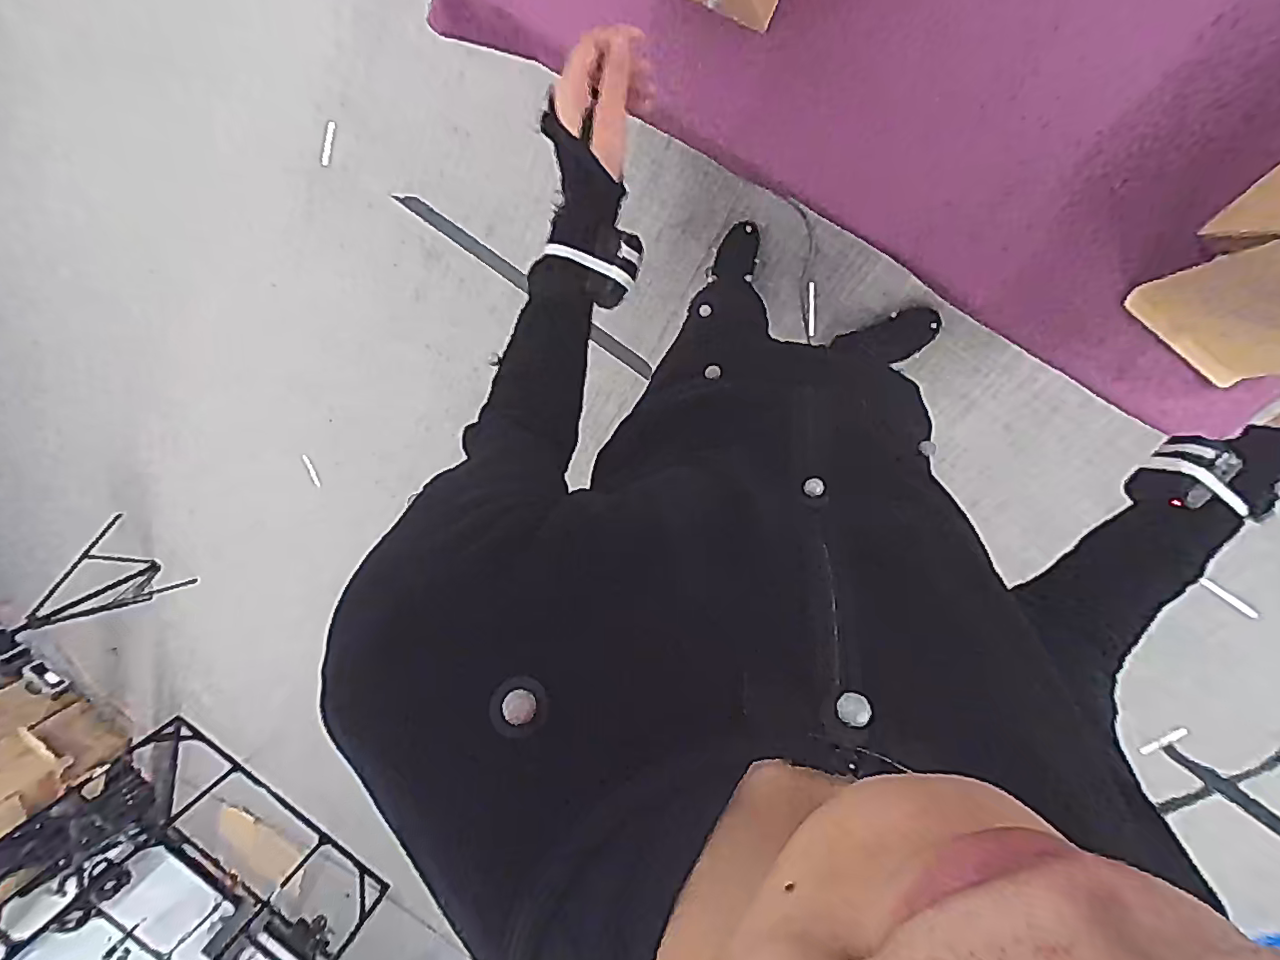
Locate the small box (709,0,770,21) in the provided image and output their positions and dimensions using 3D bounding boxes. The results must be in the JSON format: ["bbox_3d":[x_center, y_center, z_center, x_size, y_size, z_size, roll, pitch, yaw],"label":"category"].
[{"bbox_3d":[0.086,-0.631,0.562,0.168,0.176,0.179,31,120,5],"label":"small box"}]
